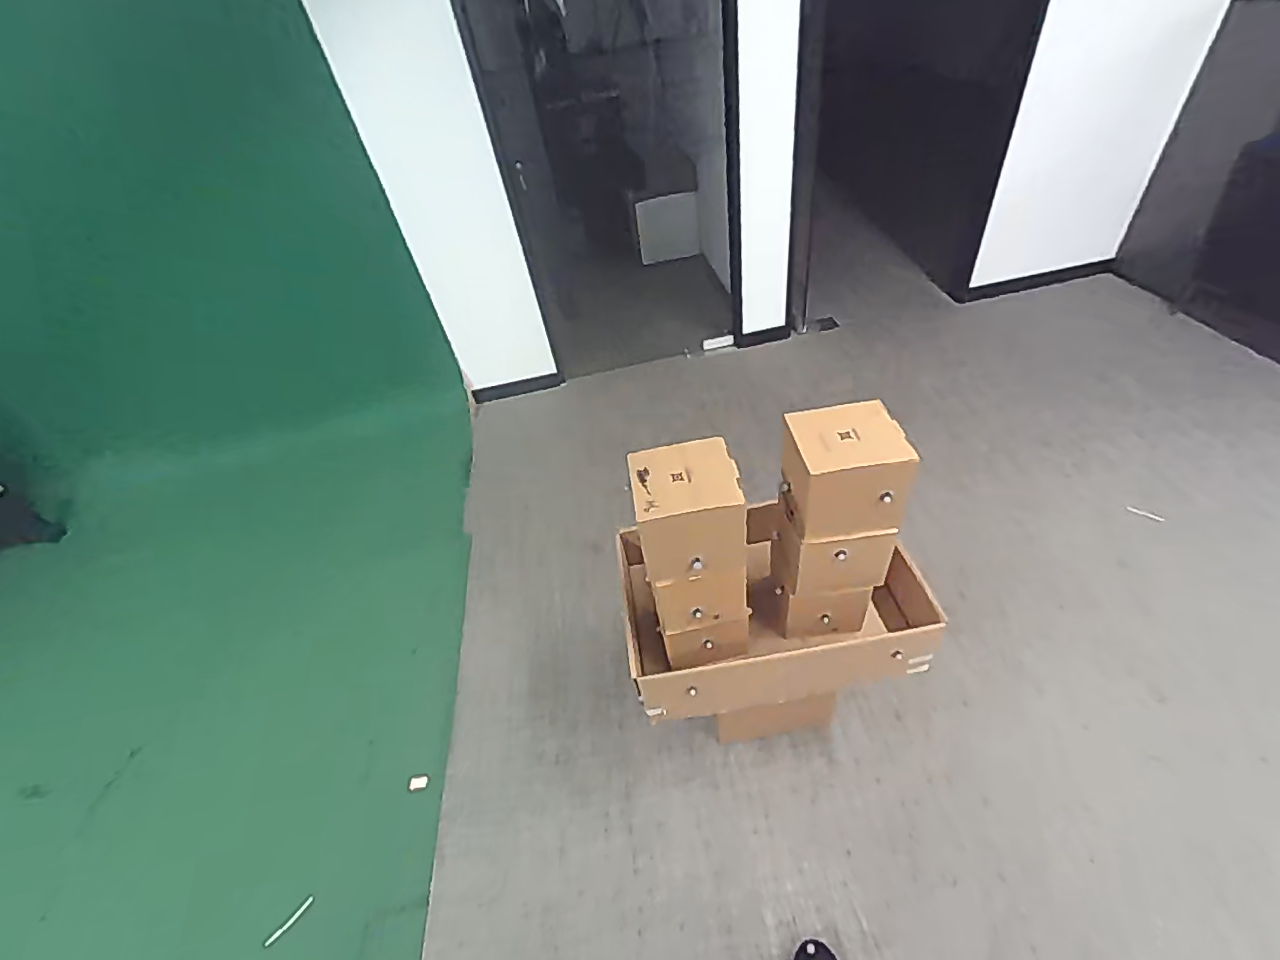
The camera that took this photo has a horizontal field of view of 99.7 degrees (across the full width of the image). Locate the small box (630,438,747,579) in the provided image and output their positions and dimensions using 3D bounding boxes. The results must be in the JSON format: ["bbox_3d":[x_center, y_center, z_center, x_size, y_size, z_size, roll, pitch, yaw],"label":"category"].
[{"bbox_3d":[0.083,0.052,0.947,0.179,0.176,0.168,-10,43,1],"label":"small box"}]

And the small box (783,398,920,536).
[{"bbox_3d":[0.361,-0.021,0.961,0.179,0.176,0.168,-9,43,4],"label":"small box"}]

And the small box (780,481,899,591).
[{"bbox_3d":[0.381,0.103,1.065,0.179,0.176,0.168,-8,43,3],"label":"small box"}]

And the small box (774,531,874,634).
[{"bbox_3d":[0.392,0.221,1.179,0.168,0.176,0.179,-7,43,5],"label":"small box"}]
